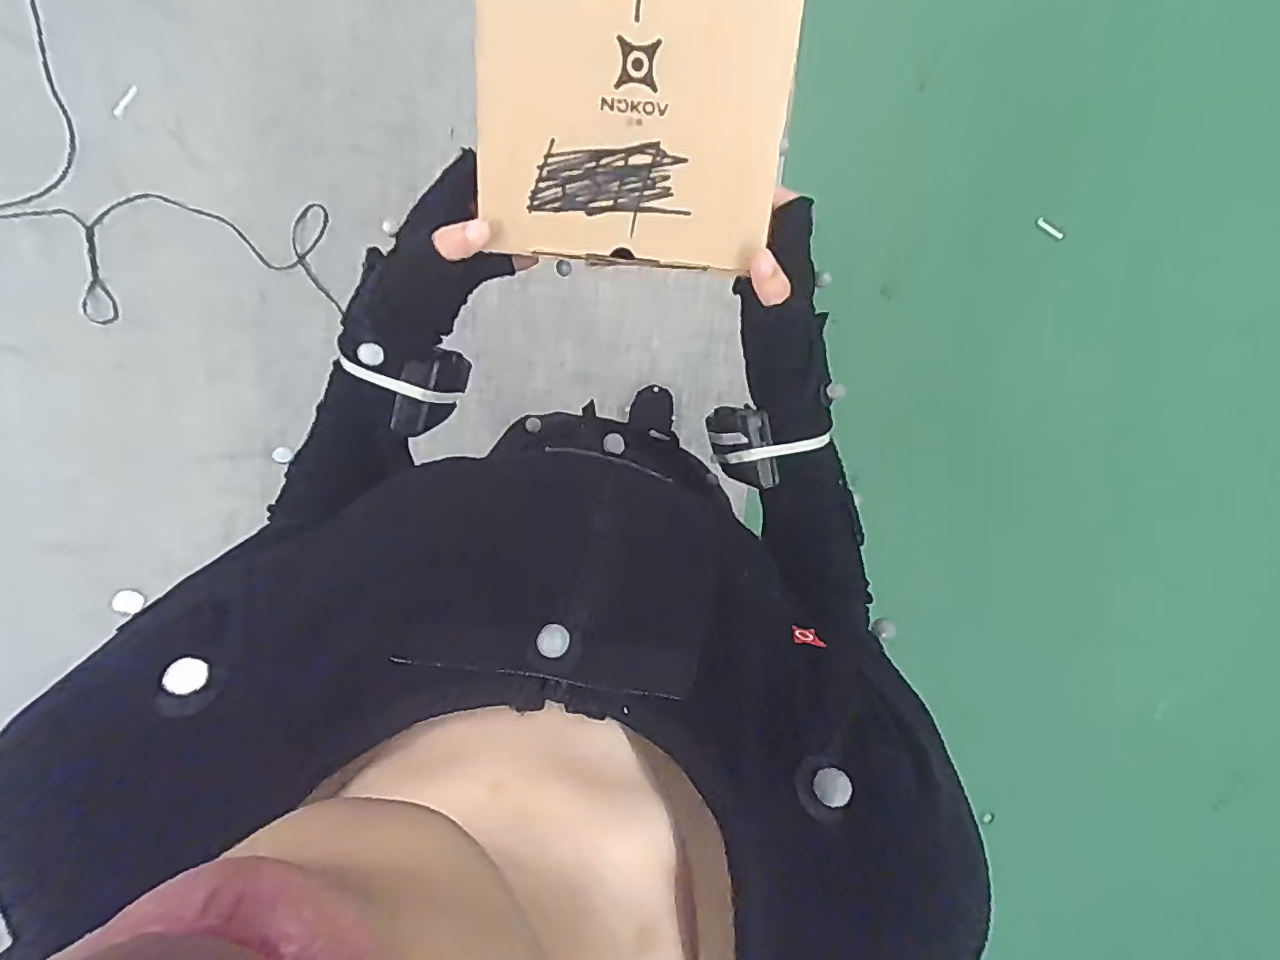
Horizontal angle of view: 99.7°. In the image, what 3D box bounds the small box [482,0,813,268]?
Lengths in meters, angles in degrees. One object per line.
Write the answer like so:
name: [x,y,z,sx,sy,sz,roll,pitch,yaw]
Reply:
small box: [0.001,-0.240,0.353,0.168,0.176,0.179,4,111,-3]
